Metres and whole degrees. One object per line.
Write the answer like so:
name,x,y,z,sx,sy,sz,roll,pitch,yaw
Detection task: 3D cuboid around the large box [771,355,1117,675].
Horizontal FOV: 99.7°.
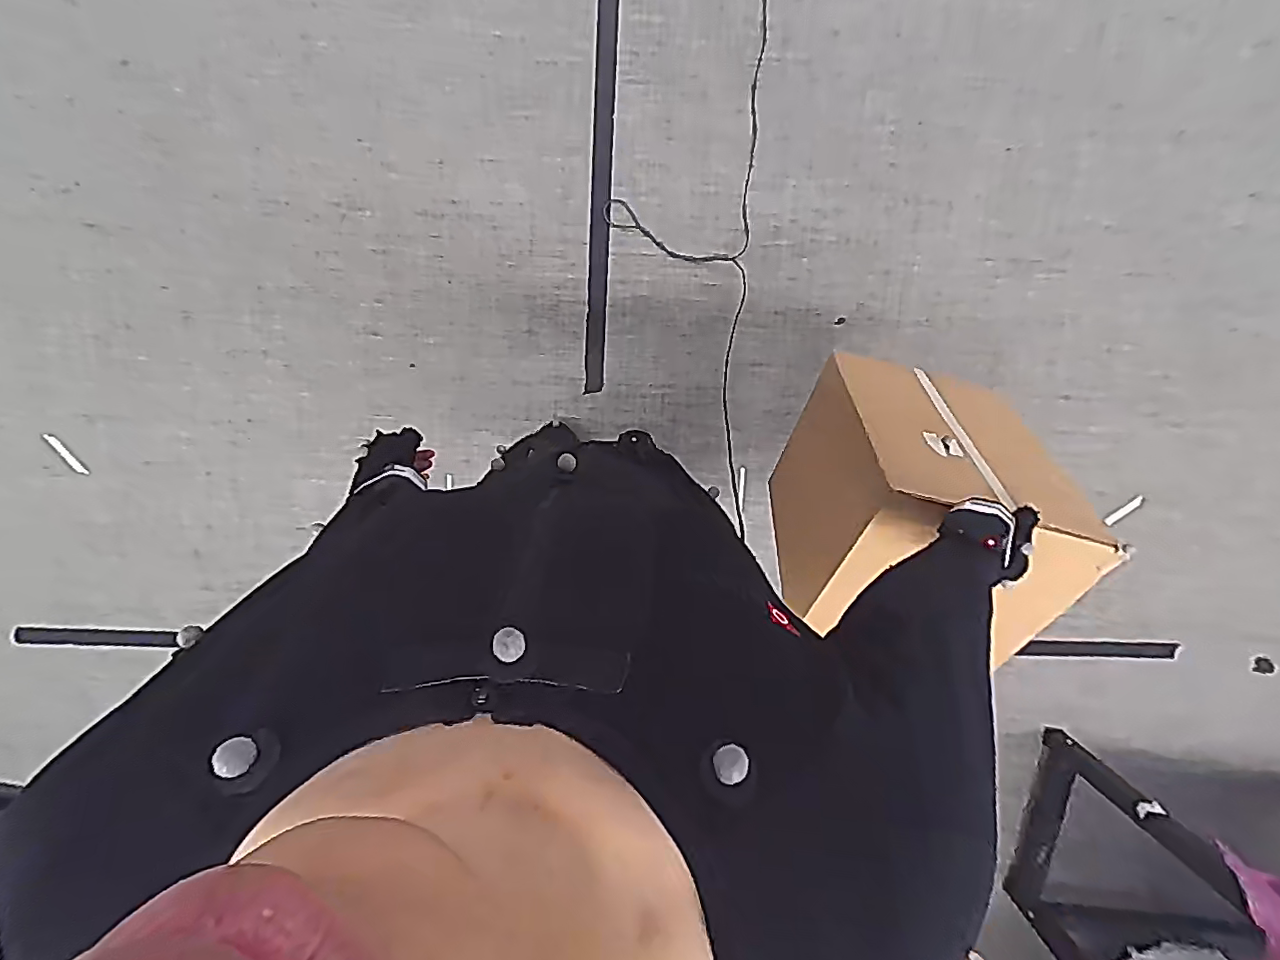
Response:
large box,0.439,0.047,0.916,0.320,0.408,0.320,14,129,-4
